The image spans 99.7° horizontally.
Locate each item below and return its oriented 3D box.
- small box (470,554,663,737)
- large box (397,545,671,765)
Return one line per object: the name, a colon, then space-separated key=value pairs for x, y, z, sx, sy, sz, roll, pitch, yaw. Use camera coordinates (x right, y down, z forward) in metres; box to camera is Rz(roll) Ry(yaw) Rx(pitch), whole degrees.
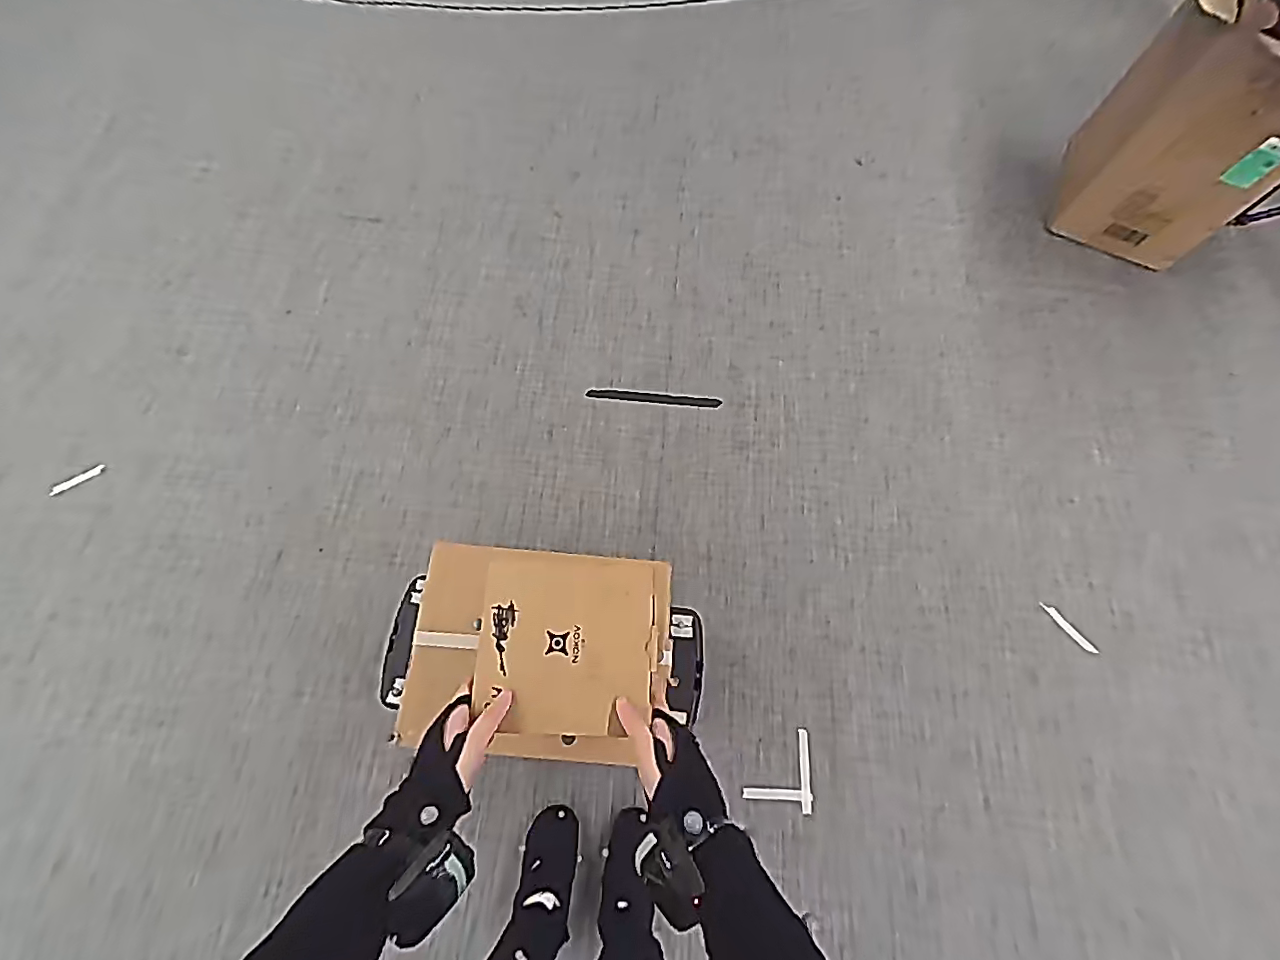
small box: x=-0.071 y=0.188 z=0.606 sx=0.179 sy=0.176 sz=0.168 roll=4 pitch=68 yaw=-1
large box: x=-0.155 y=0.317 z=0.991 sx=0.408 sy=0.320 sz=0.320 roll=5 pitch=68 yaw=1
